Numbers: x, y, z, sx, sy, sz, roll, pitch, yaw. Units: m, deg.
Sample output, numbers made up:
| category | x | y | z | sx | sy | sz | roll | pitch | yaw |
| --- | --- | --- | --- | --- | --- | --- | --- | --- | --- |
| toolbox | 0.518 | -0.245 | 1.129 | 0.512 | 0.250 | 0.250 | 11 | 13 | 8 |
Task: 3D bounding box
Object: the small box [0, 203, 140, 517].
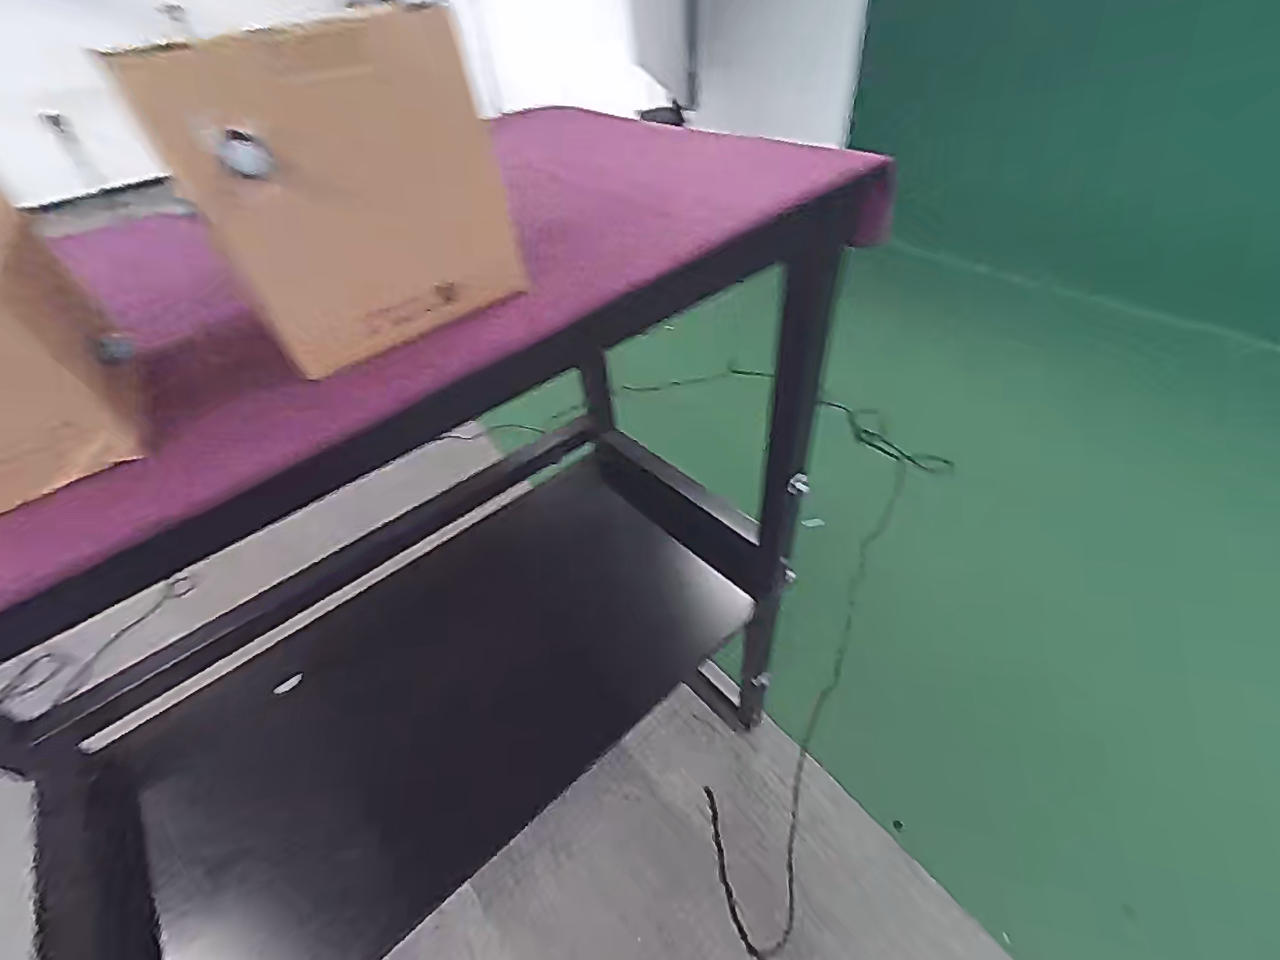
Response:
| category | x | y | z | sx | sy | sz | roll | pitch | yaw |
| --- | --- | --- | --- | --- | --- | --- | --- | --- | --- |
| small box | -0.401 | -0.066 | 0.261 | 0.179 | 0.176 | 0.168 | -31 | 48 | -23 |
